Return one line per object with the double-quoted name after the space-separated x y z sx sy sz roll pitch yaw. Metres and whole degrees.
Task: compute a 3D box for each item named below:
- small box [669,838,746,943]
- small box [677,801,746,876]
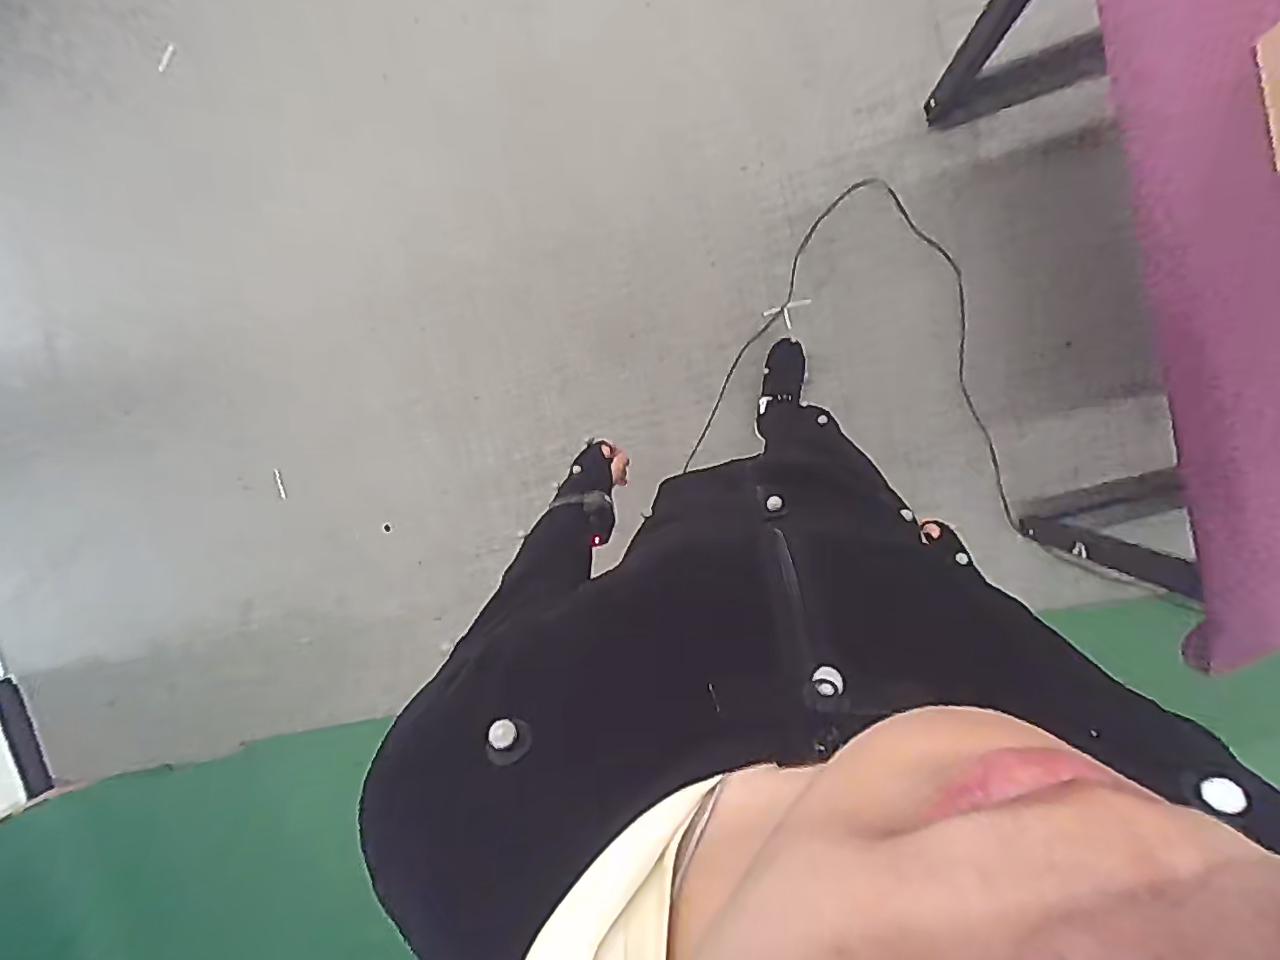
0.189 1.113 1.470 0.179 0.176 0.168 -12 93 11 "small box"
0.219 1.100 1.629 0.179 0.176 0.168 -11 94 12 "small box"
